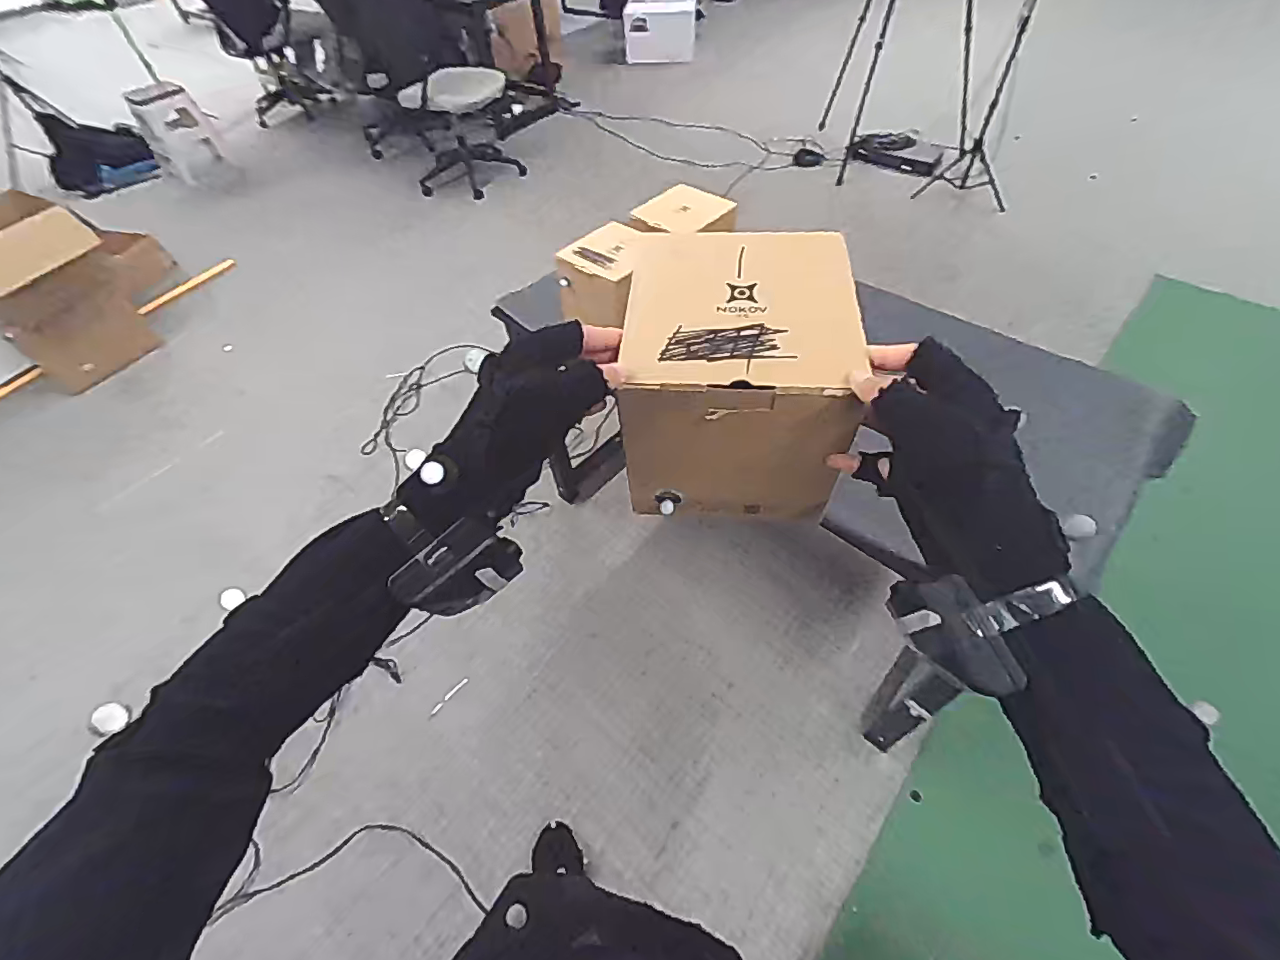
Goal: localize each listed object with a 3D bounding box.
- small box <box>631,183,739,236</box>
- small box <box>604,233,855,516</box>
[{"bbox_3d":[0.098,-0.527,1.213,0.168,0.176,0.179,36,63,27],"label":"small box"},{"bbox_3d":[0.070,-0.083,0.461,0.168,0.176,0.179,2,55,6],"label":"small box"}]
